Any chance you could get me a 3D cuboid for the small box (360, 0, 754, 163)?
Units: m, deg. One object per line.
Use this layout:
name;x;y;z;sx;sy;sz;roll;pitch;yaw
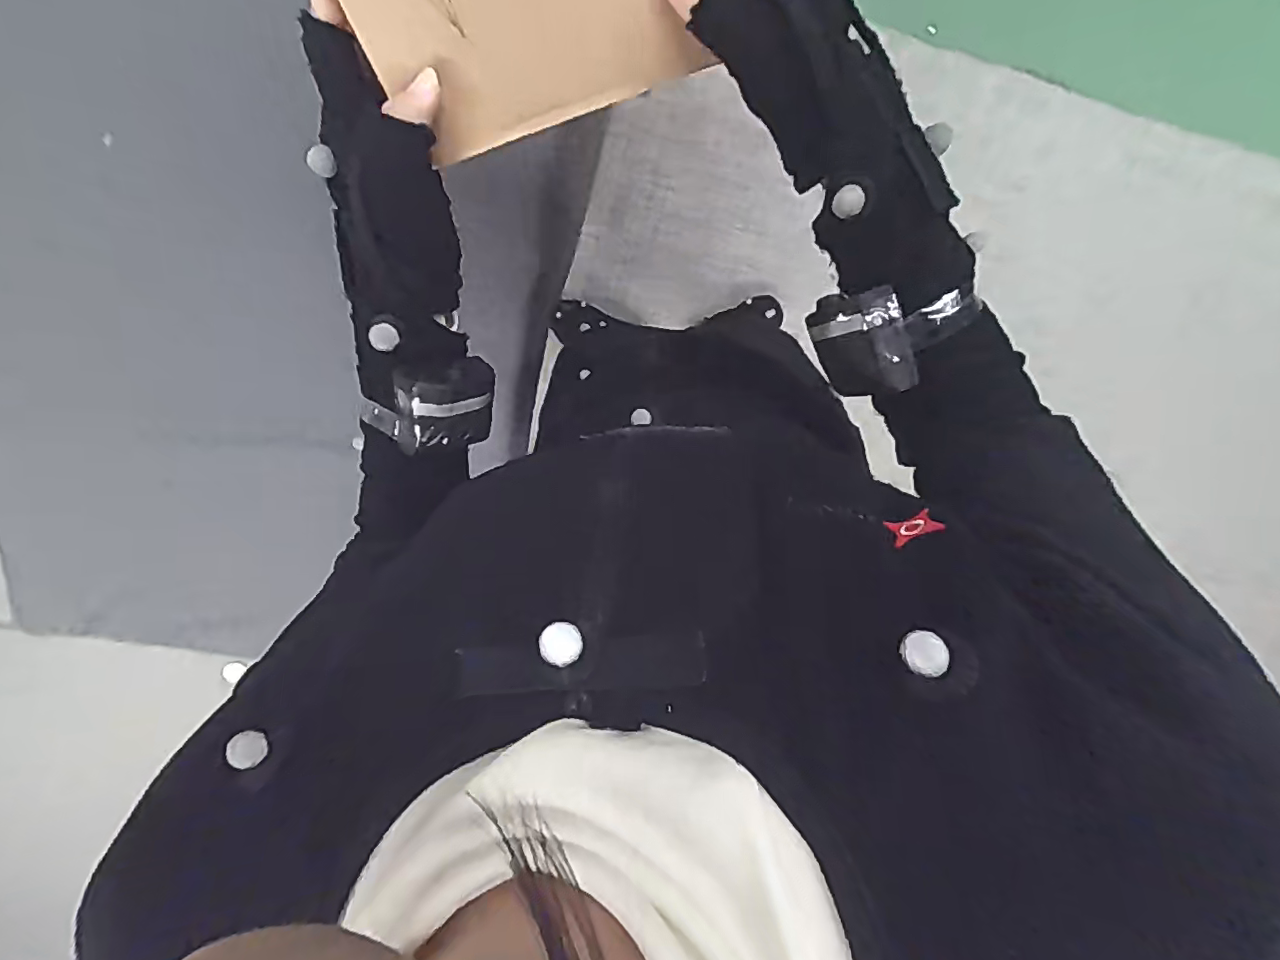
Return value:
small box;-0.056;-0.301;0.281;0.179;0.176;0.168;-16;134;6
